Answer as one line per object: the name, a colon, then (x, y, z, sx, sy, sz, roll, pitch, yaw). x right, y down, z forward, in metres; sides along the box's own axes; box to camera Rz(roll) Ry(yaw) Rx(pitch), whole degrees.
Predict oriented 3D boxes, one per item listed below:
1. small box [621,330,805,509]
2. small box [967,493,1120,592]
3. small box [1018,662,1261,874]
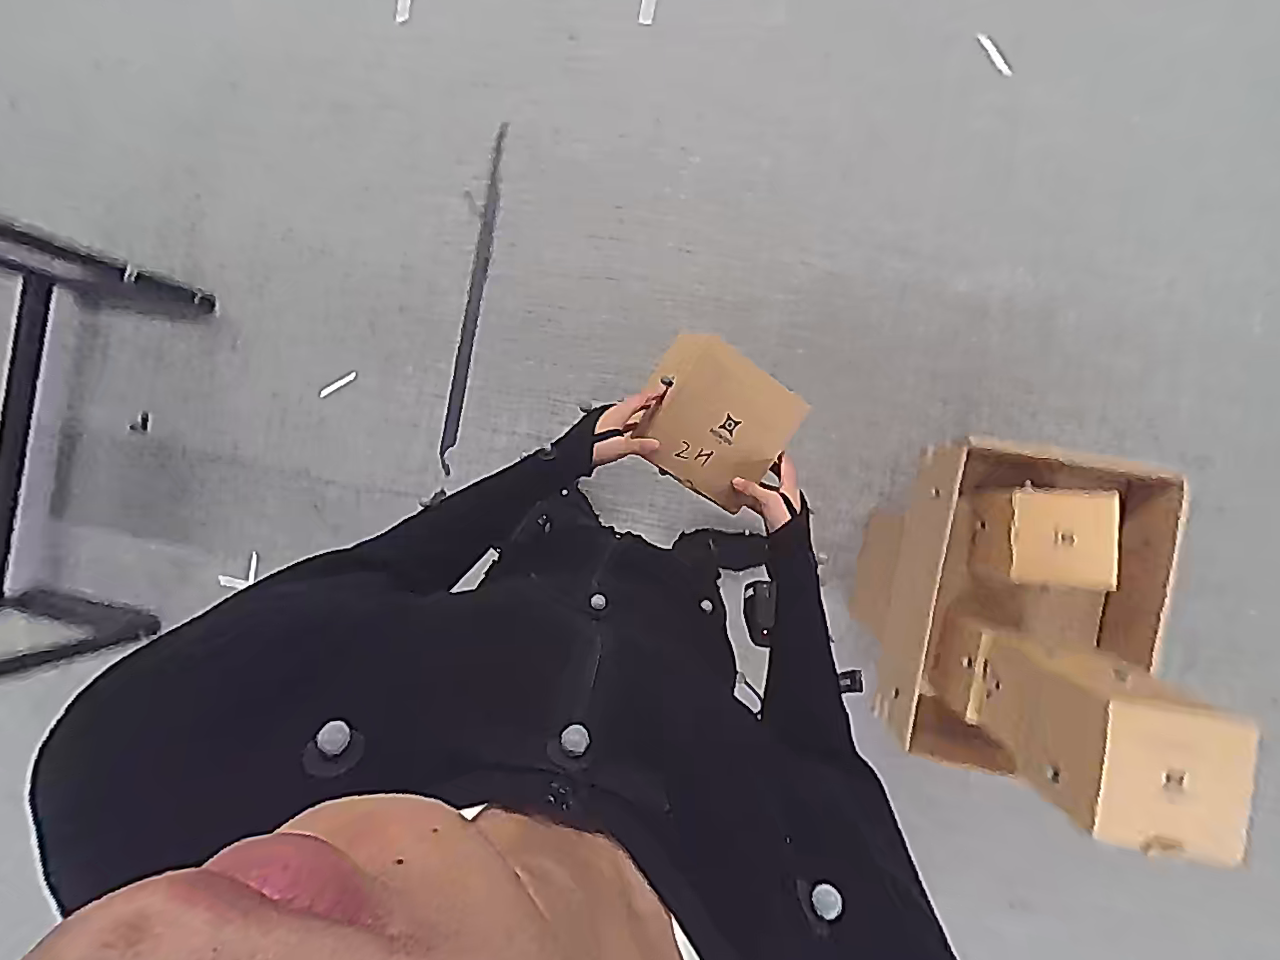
small box: (0.088, -0.092, 0.756, 0.168, 0.176, 0.179, 31, 98, -16)
small box: (0.767, 0.113, 1.043, 0.179, 0.176, 0.168, 3, 89, 8)
small box: (0.644, 0.367, 0.723, 0.168, 0.176, 0.179, 8, 90, 7)
